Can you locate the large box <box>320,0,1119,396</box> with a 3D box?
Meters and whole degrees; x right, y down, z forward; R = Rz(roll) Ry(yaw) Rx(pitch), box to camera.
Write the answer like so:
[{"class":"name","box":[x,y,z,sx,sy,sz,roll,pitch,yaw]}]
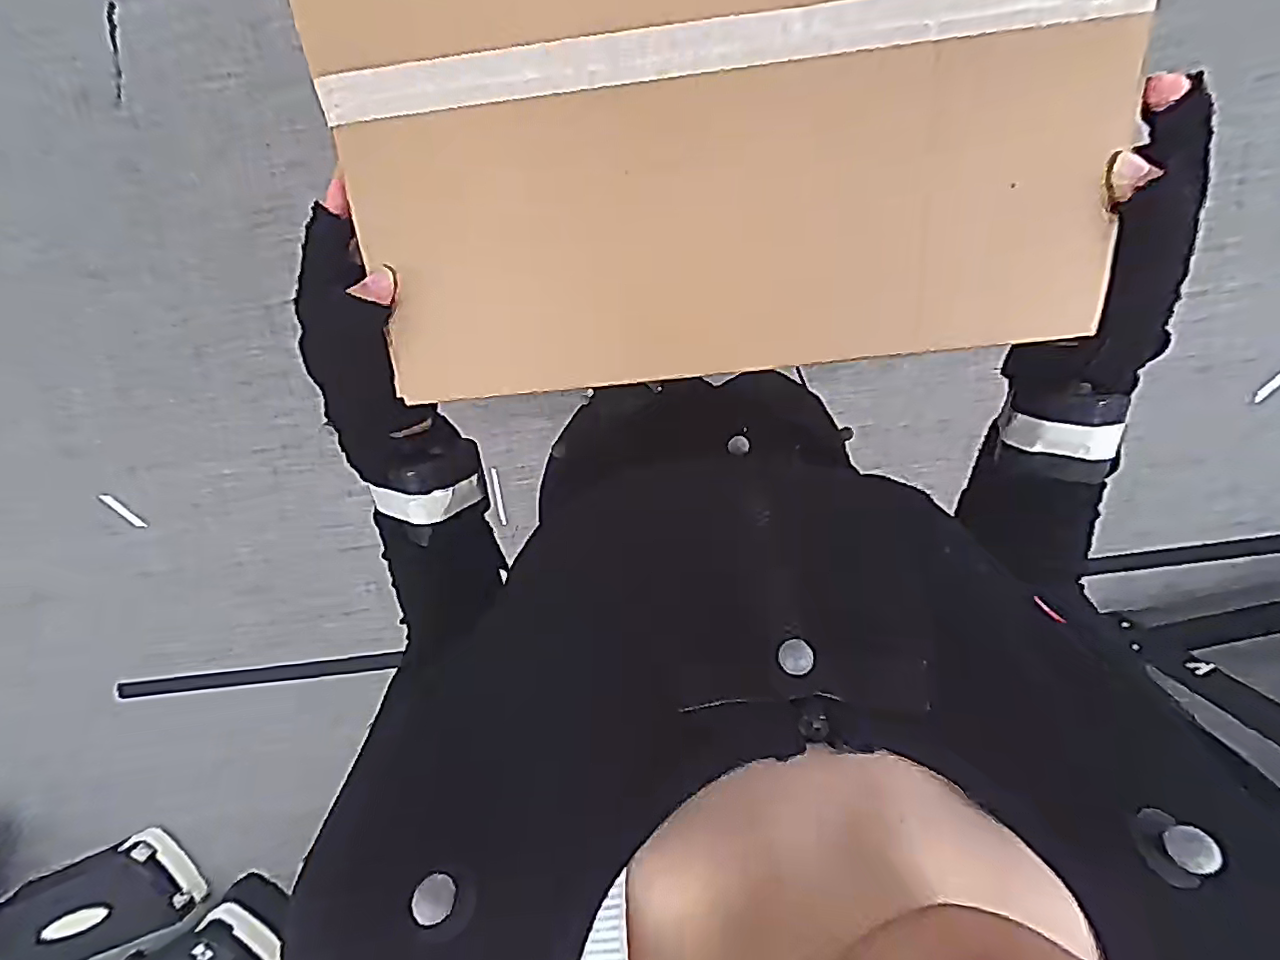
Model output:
[{"class":"large box","box":[0.041,-0.265,0.419,0.408,0.320,0.320,-5,110,3]}]
